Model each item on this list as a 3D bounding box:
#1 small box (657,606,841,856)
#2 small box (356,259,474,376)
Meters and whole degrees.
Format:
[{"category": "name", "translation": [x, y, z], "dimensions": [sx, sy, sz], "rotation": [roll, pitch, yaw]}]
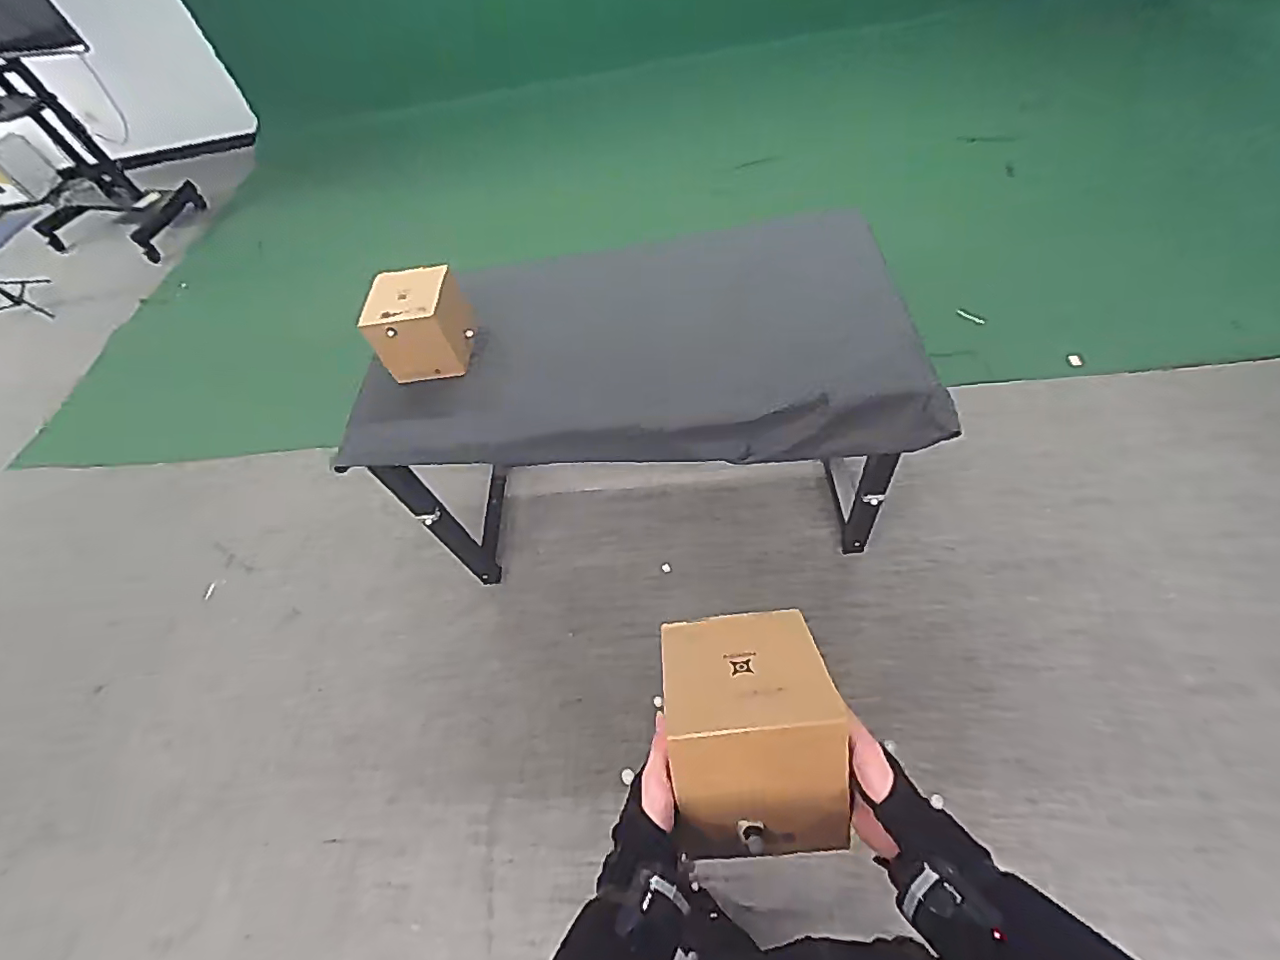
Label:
[{"category": "small box", "translation": [0.109, 0.264, 0.589], "dimensions": [0.168, 0.176, 0.179], "rotation": [-8, 21, 4]}, {"category": "small box", "translation": [-0.484, -0.356, 1.197], "dimensions": [0.168, 0.176, 0.179], "rotation": [-6, 55, 7]}]
